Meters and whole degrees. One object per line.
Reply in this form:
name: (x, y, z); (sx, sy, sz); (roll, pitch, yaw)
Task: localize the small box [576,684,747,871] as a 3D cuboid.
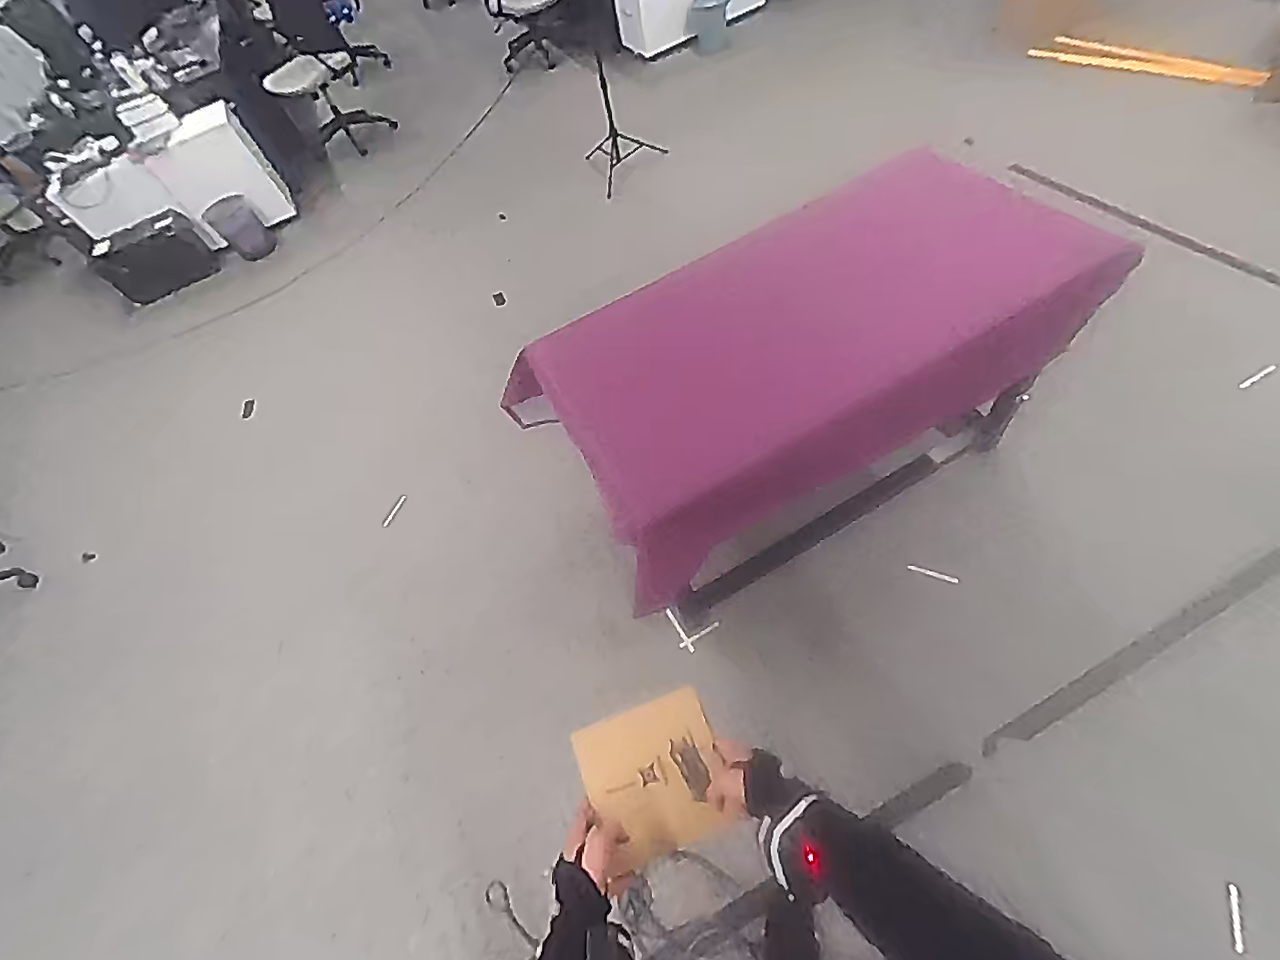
small box: (0.024, 0.404, 0.743); (0.179, 0.176, 0.168); (-18, 59, -9)
